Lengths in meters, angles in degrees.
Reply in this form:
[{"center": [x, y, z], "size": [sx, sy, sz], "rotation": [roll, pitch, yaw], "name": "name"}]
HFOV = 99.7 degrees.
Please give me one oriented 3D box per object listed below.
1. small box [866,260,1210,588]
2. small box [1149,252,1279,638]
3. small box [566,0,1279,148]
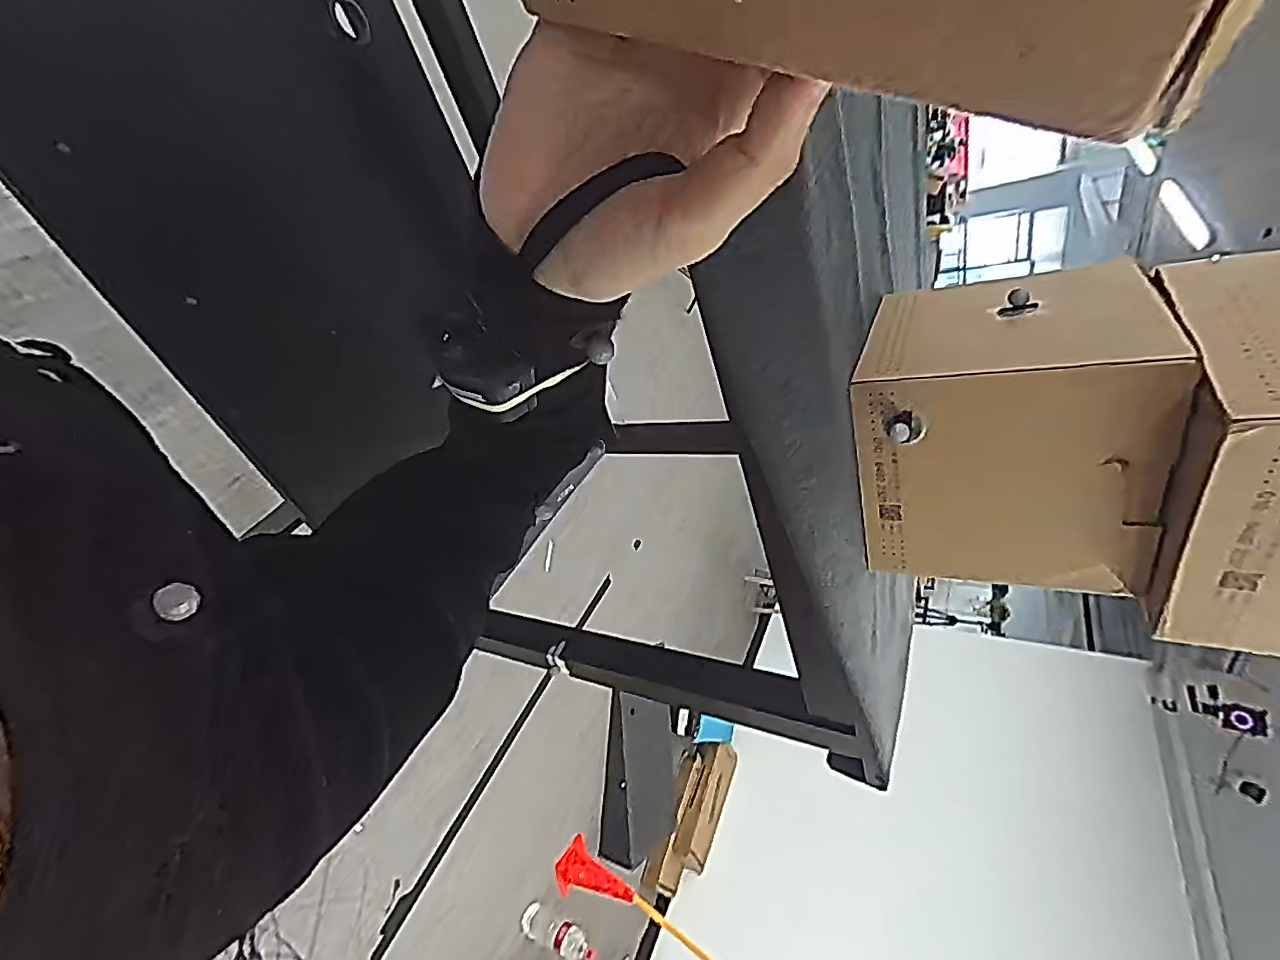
[{"center": [0.270, -0.044, 0.406], "size": [0.179, 0.176, 0.168], "rotation": [-53, 134, -45], "name": "small box"}, {"center": [0.395, -0.020, 0.300], "size": [0.179, 0.176, 0.168], "rotation": [-59, 139, -40], "name": "small box"}, {"center": [0.055, -0.190, 0.060], "size": [0.179, 0.176, 0.168], "rotation": [-55, 154, 1], "name": "small box"}]
